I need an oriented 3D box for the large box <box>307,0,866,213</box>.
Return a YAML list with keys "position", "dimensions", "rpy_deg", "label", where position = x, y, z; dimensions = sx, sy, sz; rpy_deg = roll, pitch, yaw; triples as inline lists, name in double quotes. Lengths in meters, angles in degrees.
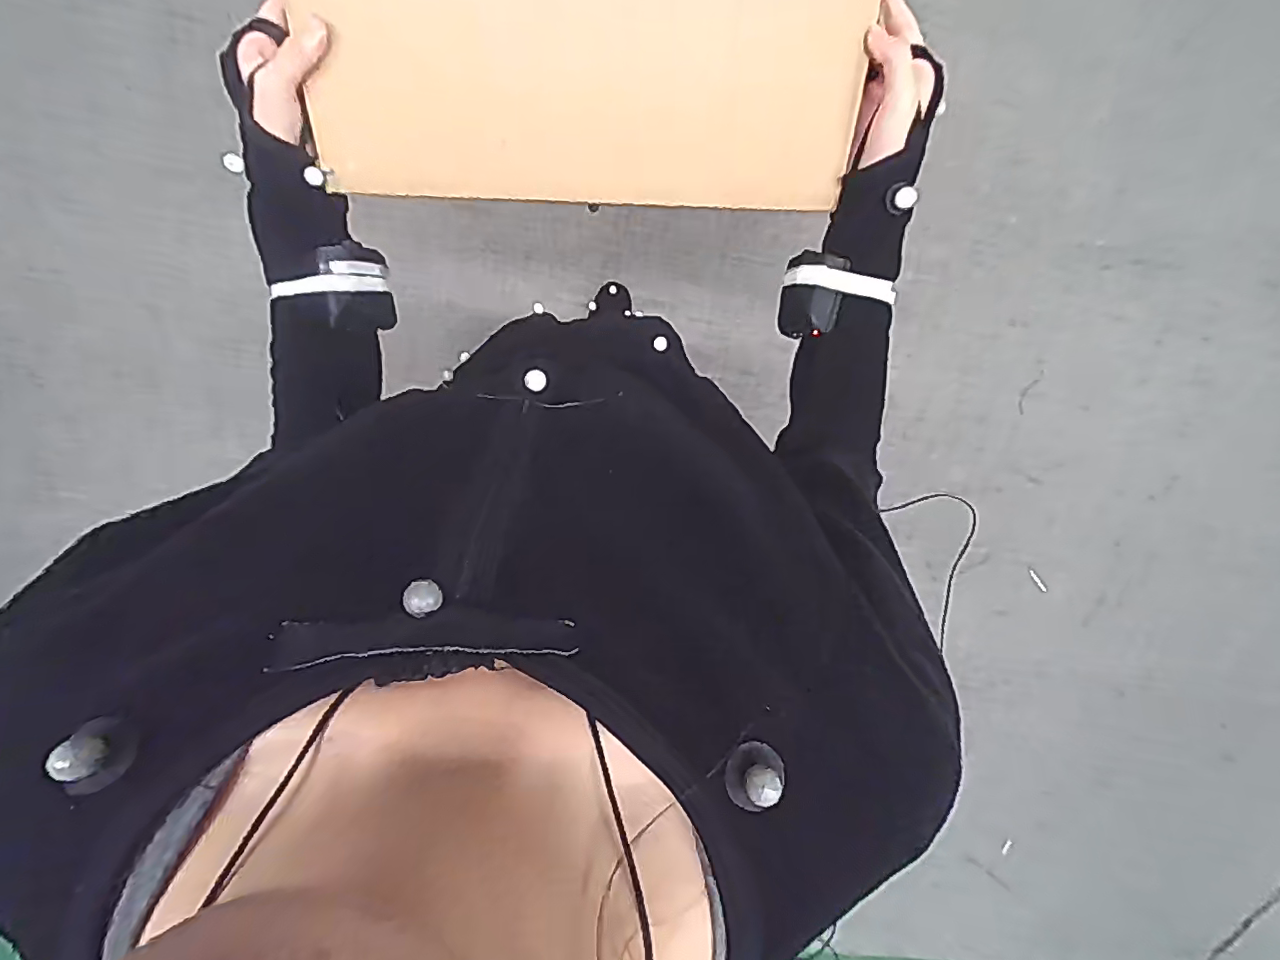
- position: [-0.038, -0.436, 0.498]
  dimensions: [0.408, 0.320, 0.320]
  rpy_deg: [0, 120, -4]
  label: "large box"
